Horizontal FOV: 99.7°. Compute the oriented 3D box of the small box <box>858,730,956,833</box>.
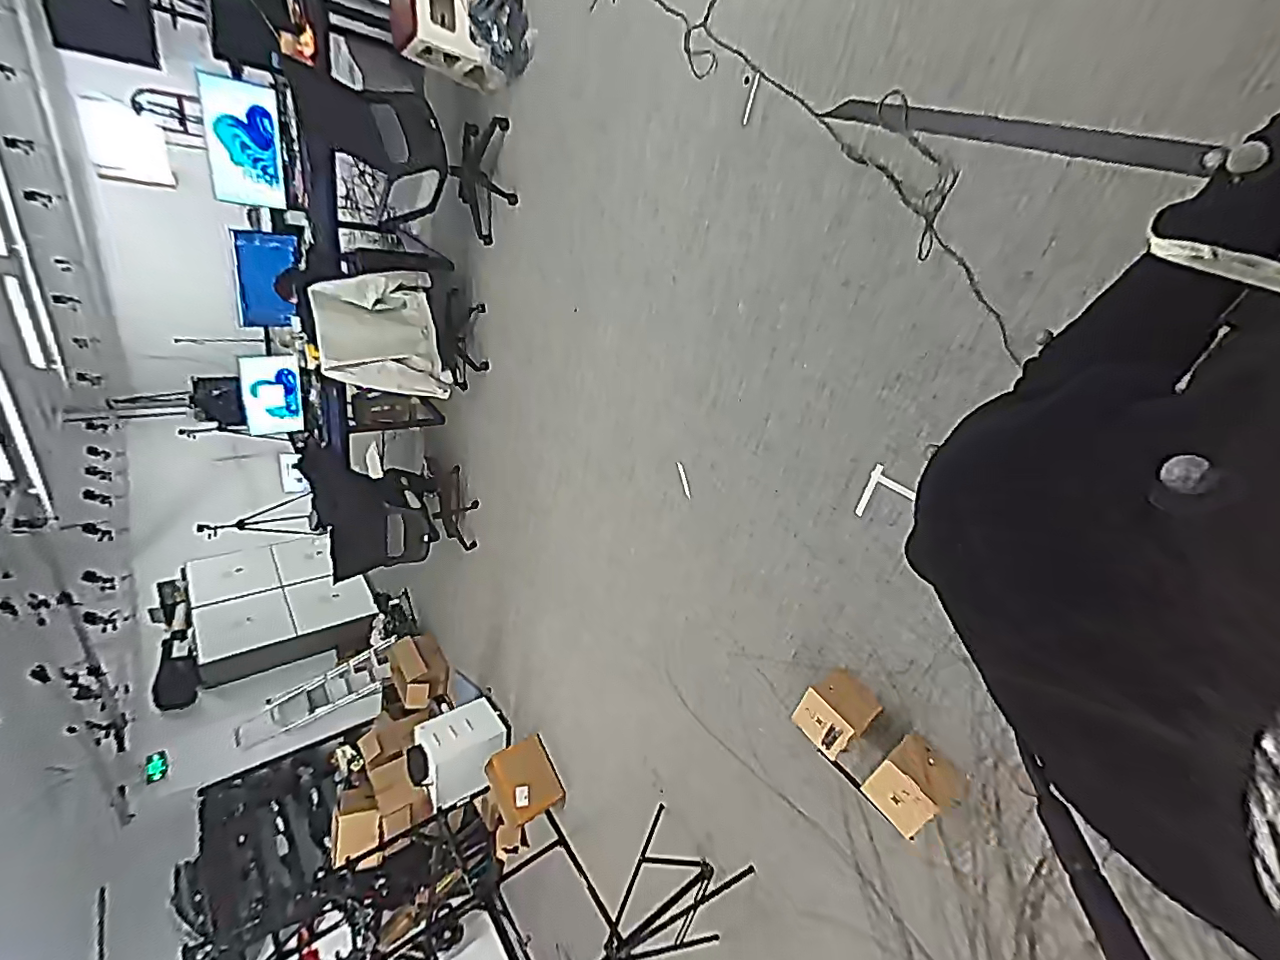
[{"bbox_3d":[0.783,0.876,1.583,0.168,0.176,0.179,43,130,35],"label":"small box"}]
